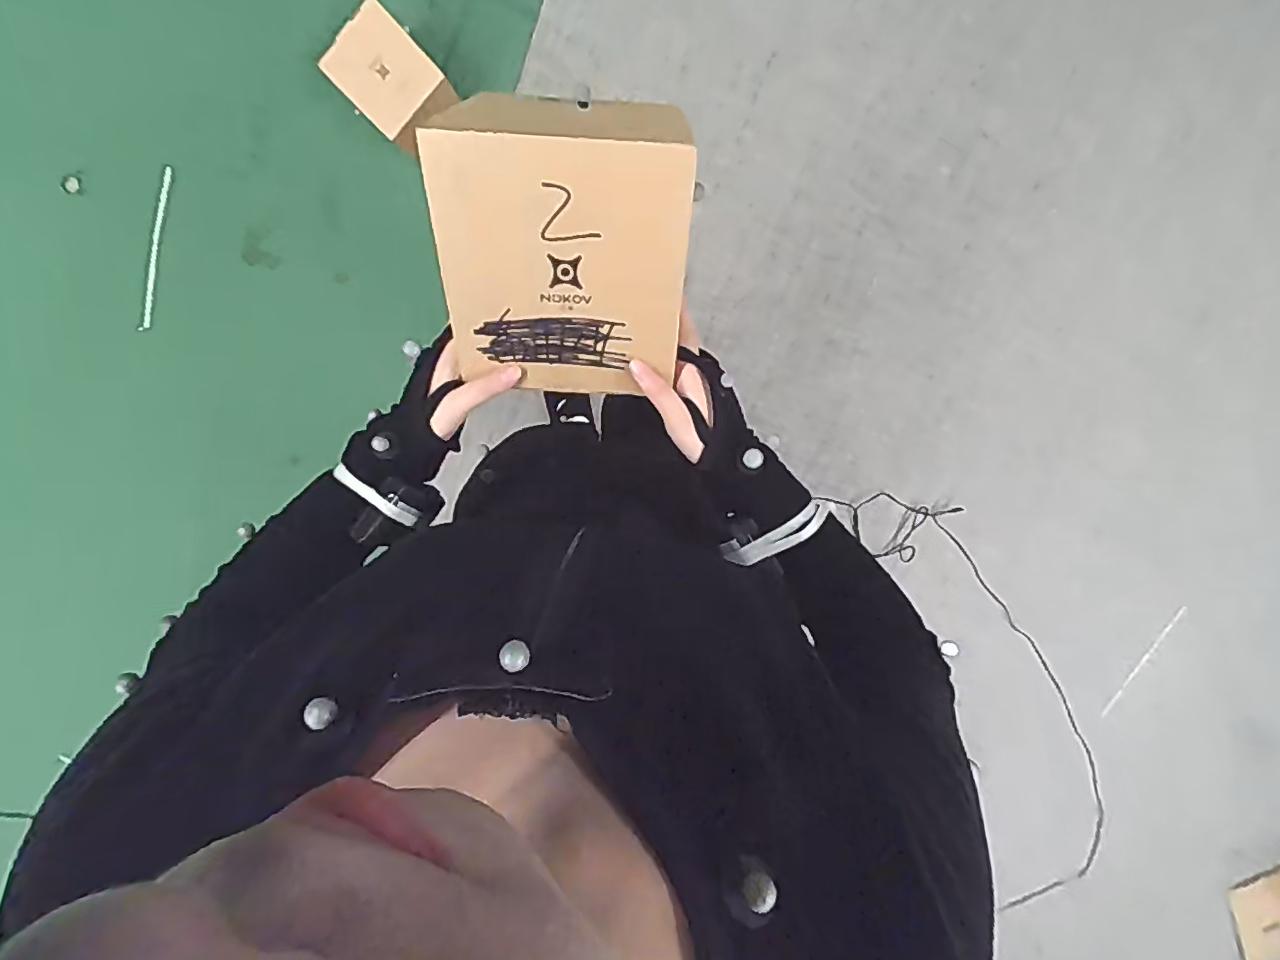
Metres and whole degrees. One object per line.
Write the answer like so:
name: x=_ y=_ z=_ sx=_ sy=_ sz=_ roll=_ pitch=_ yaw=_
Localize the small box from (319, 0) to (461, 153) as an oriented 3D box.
small box: x=-0.500 y=-0.815 z=1.109 sx=0.168 sy=0.176 sz=0.179 roll=-43 pitch=107 yaw=10
